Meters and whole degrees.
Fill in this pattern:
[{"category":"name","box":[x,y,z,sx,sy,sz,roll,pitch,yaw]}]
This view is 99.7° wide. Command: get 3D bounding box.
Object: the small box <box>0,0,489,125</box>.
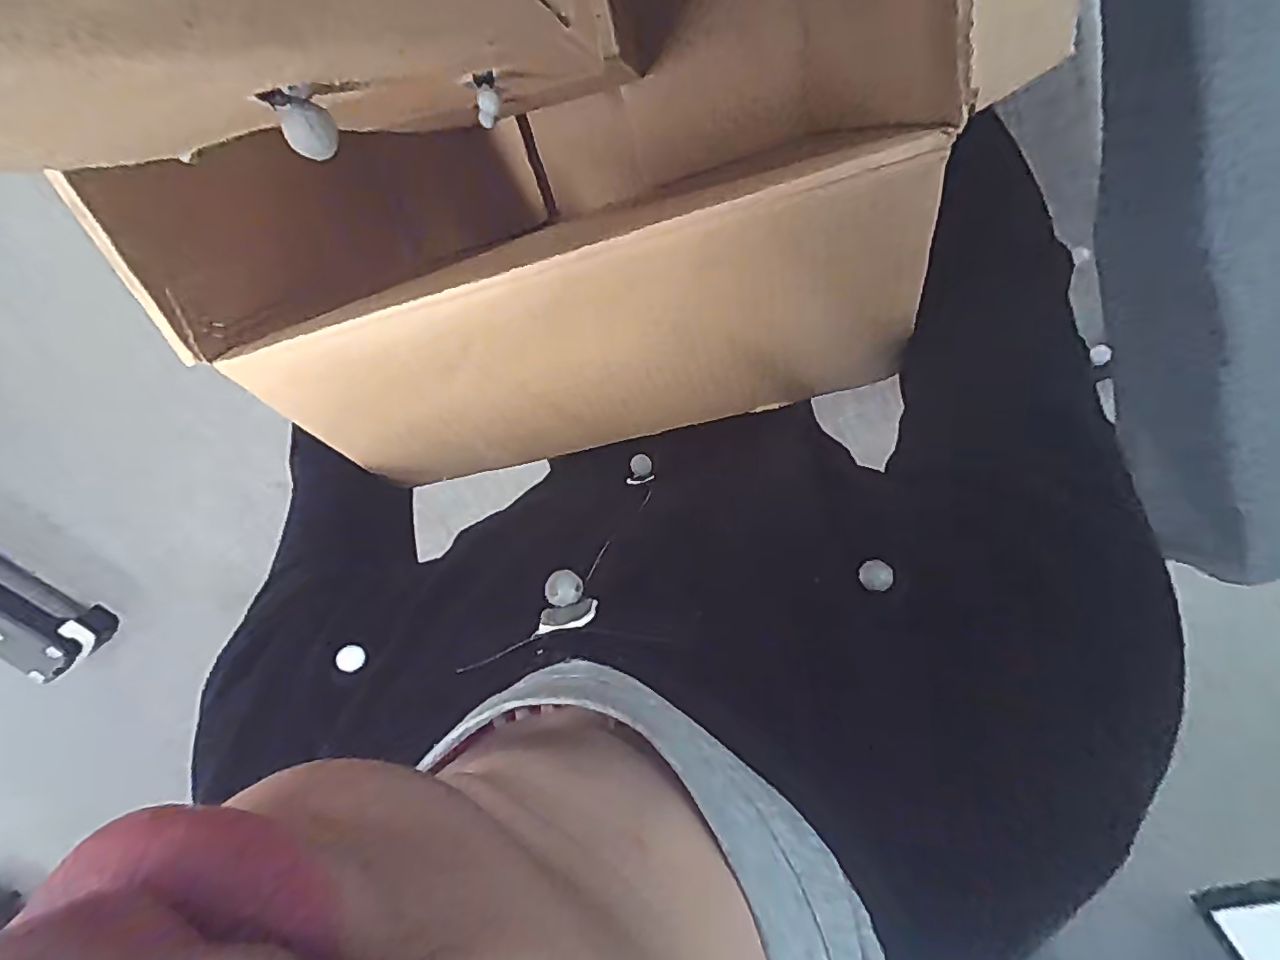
[{"category":"small box","box":[-0.130,-0.167,0.079,0.179,0.176,0.168,-9,122,10]}]
